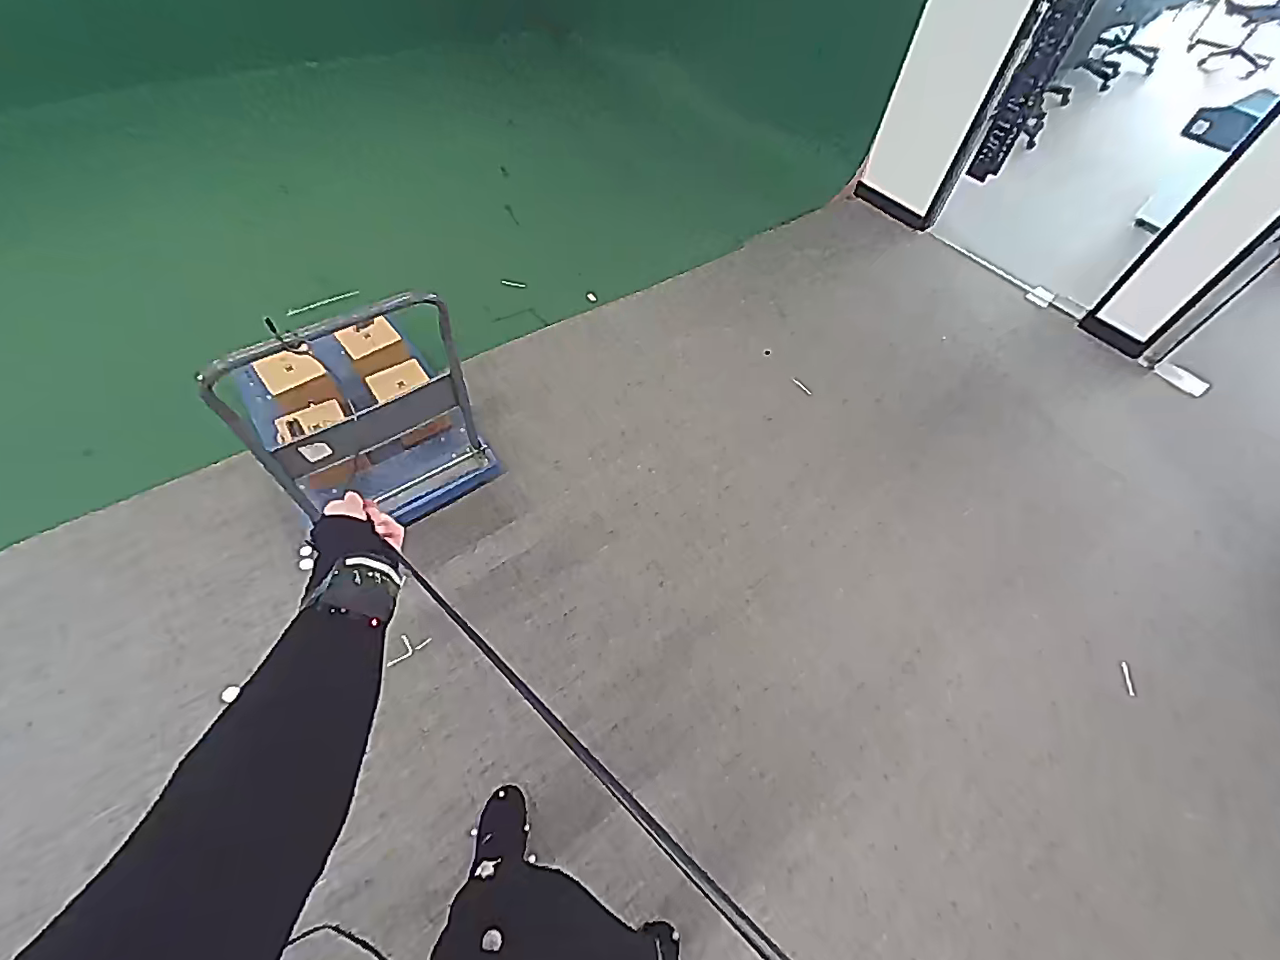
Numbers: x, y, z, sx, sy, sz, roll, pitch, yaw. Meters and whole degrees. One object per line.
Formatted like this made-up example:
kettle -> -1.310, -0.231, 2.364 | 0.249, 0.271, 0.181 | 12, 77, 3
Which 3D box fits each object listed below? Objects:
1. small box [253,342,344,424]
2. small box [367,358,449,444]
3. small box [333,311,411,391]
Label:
small box -> -1.089, -0.303, 1.737 | 0.168, 0.176, 0.179 | -34, 65, -24
small box -> -0.738, -0.250, 1.727 | 0.168, 0.176, 0.179 | -30, 64, -22
small box -> -0.900, -0.435, 1.839 | 0.168, 0.176, 0.179 | -35, 66, -23
